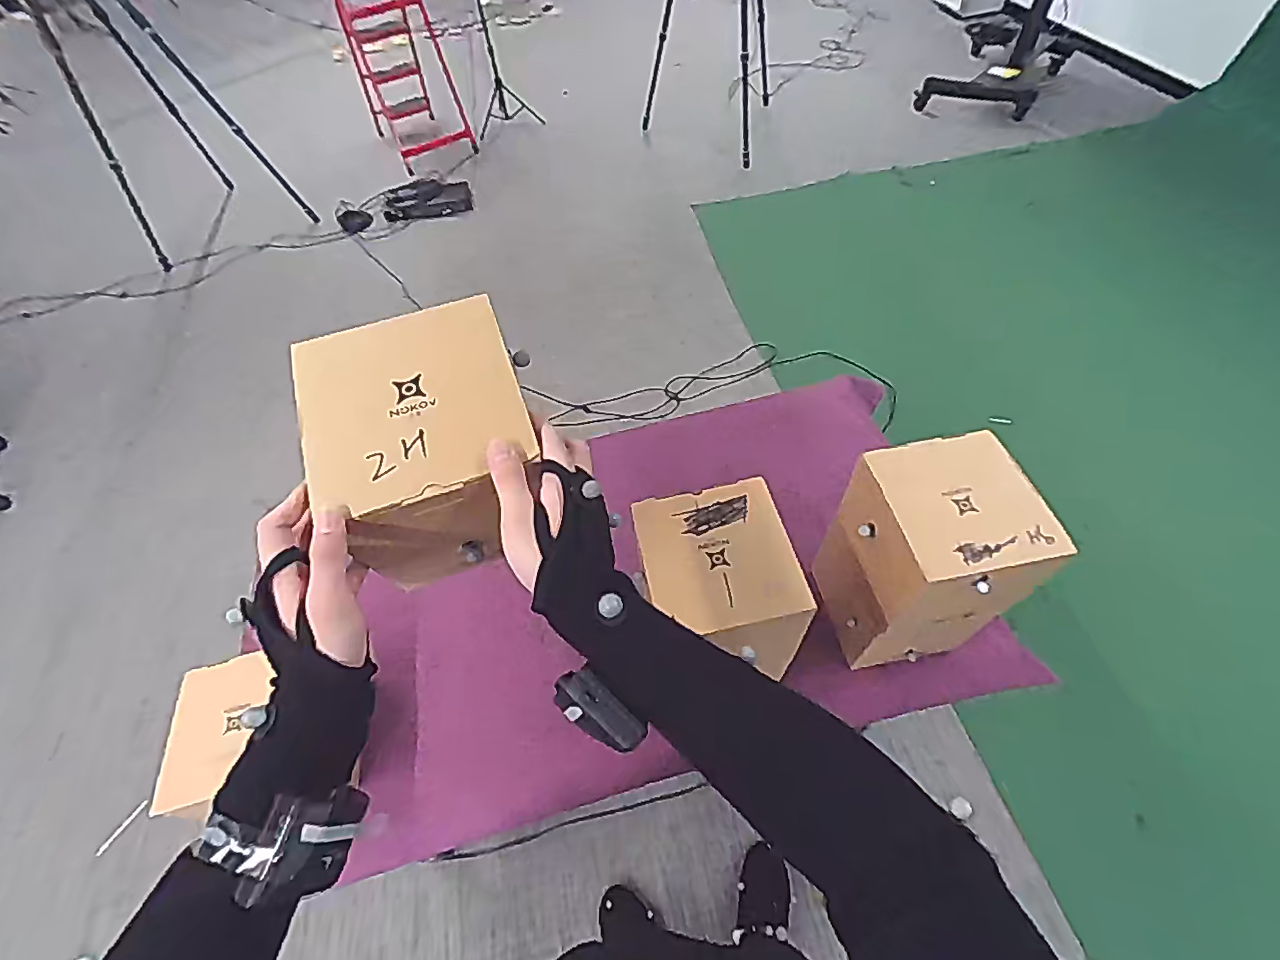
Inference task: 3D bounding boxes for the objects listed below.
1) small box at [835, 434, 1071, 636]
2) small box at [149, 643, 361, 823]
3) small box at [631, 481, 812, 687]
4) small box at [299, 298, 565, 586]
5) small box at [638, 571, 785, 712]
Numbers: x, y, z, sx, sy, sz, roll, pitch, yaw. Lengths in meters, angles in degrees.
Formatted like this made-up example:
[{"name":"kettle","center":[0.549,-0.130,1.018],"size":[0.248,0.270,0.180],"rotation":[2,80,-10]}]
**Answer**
[{"name":"small box","center":[0.363,0.072,0.674],"size":[0.168,0.176,0.179],"rotation":[-11,54,-1]},{"name":"small box","center":[-0.513,0.356,0.755],"size":[0.168,0.176,0.179],"rotation":[-14,55,-4]},{"name":"small box","center":[0.088,0.130,0.663],"size":[0.168,0.176,0.179],"rotation":[-12,55,-3]},{"name":"small box","center":[-0.176,-0.026,0.491],"size":[0.168,0.176,0.179],"rotation":[-18,66,-8]},{"name":"small box","center":[0.099,0.227,0.795],"size":[0.168,0.176,0.179],"rotation":[-12,54,-3]}]
